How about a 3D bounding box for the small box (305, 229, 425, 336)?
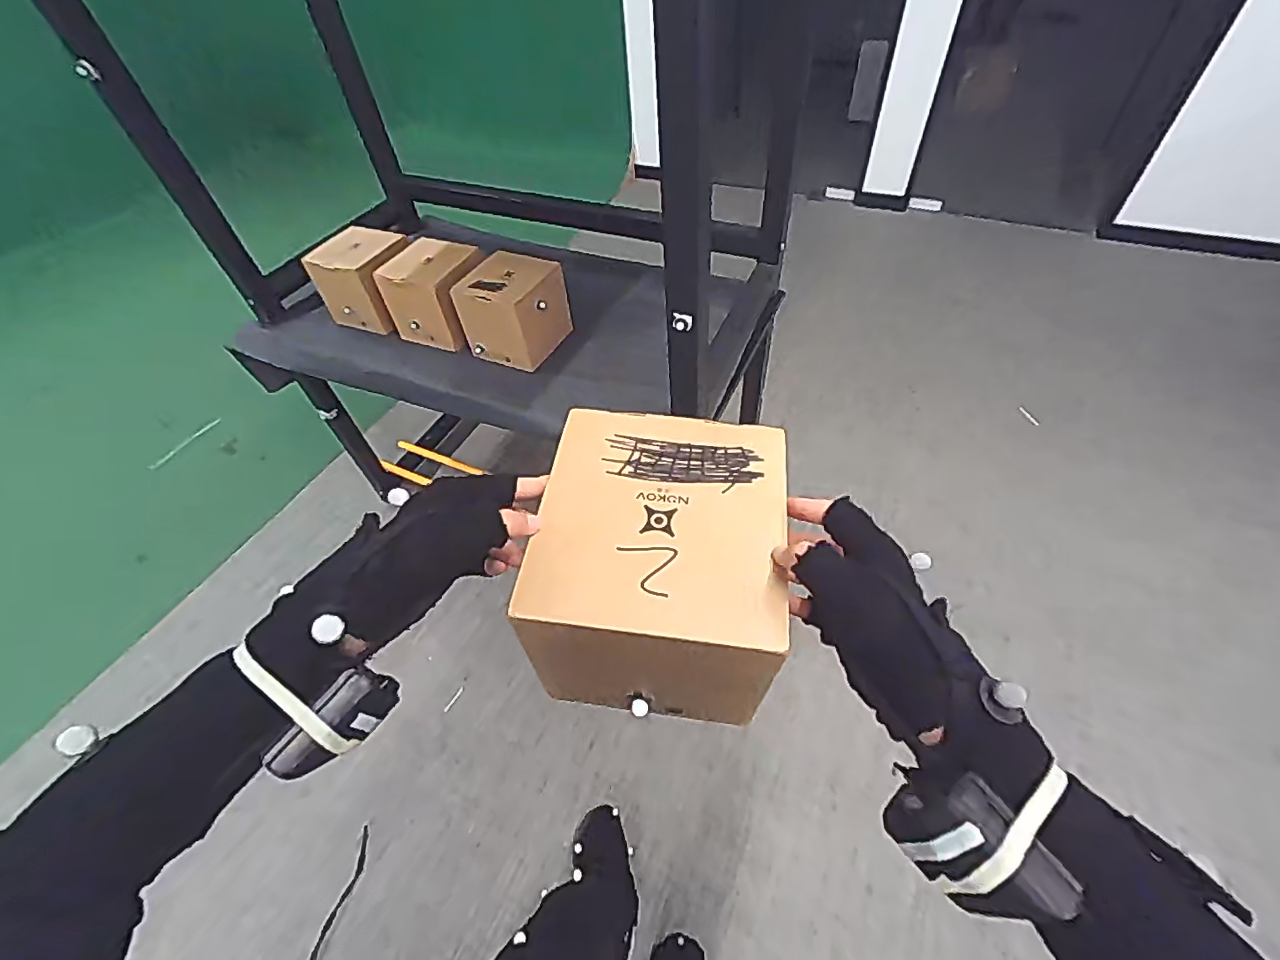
[{"bbox_3d":[-0.652,-0.479,1.312,0.168,0.176,0.179,16,53,17],"label":"small box"}]
